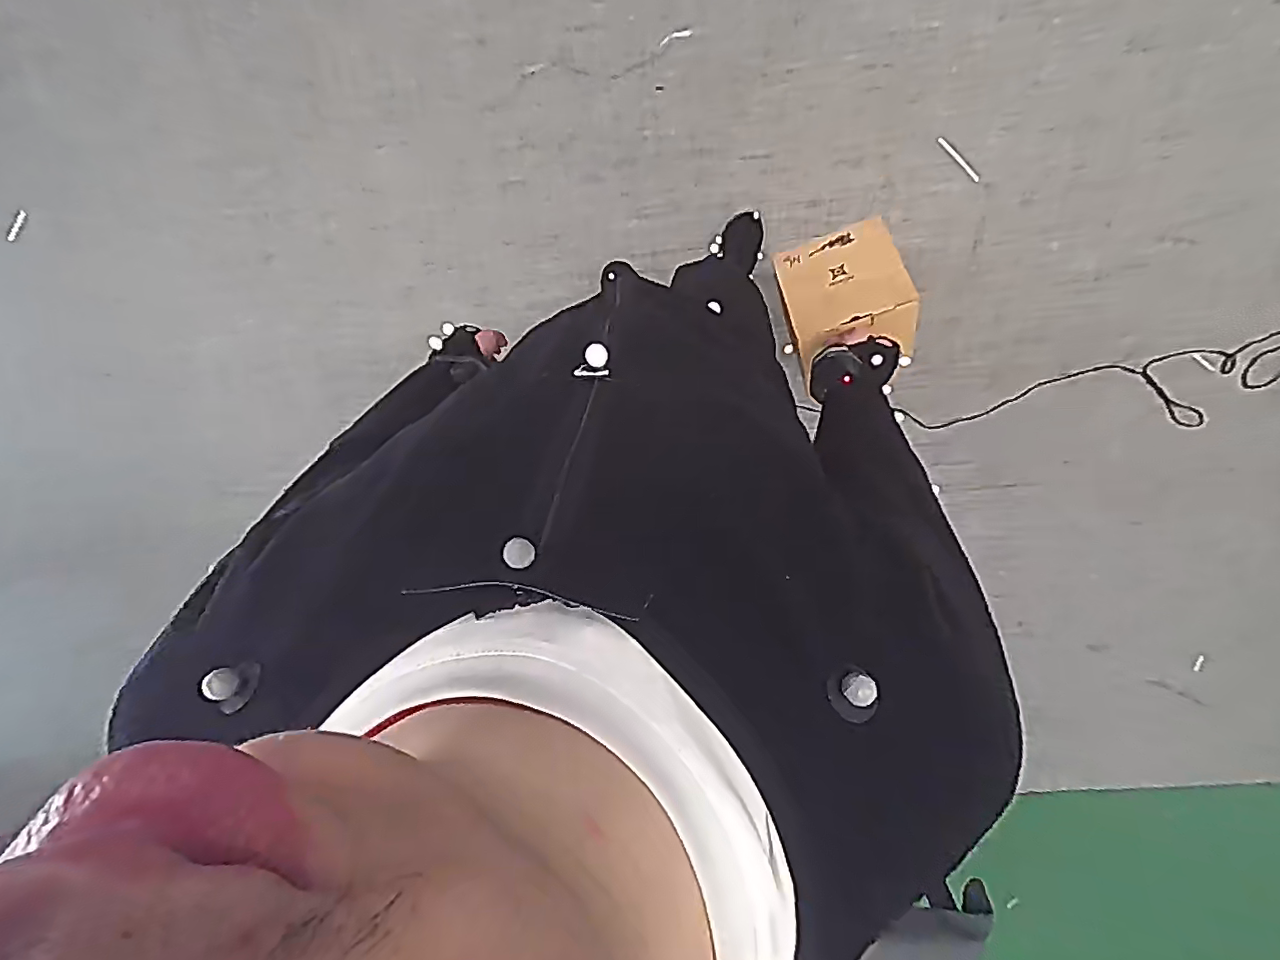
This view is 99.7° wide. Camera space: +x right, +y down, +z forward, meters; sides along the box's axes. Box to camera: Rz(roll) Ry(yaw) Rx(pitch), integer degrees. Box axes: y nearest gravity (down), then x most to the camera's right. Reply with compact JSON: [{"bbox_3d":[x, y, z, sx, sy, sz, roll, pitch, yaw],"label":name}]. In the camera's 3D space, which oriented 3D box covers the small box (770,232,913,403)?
[{"bbox_3d":[0.324,-0.246,0.867,0.168,0.179,0.176,-19,147,16],"label":"small box"}]
